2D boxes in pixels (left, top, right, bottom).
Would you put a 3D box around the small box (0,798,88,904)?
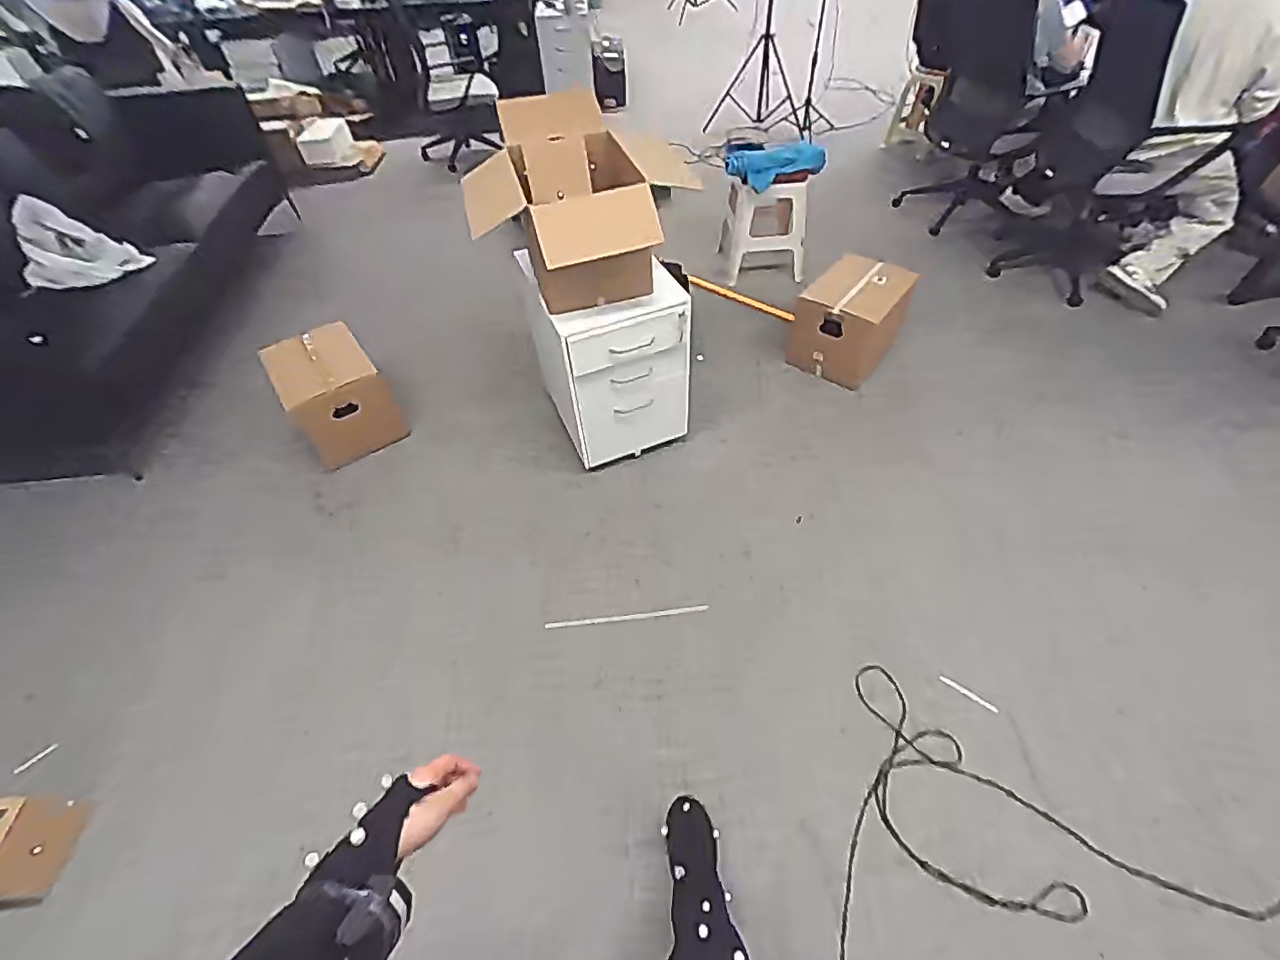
[{"bbox_3d":[-1.409,0.830,1.204,0.168,0.176,0.179,-5,51,-1],"label":"small box"}]
